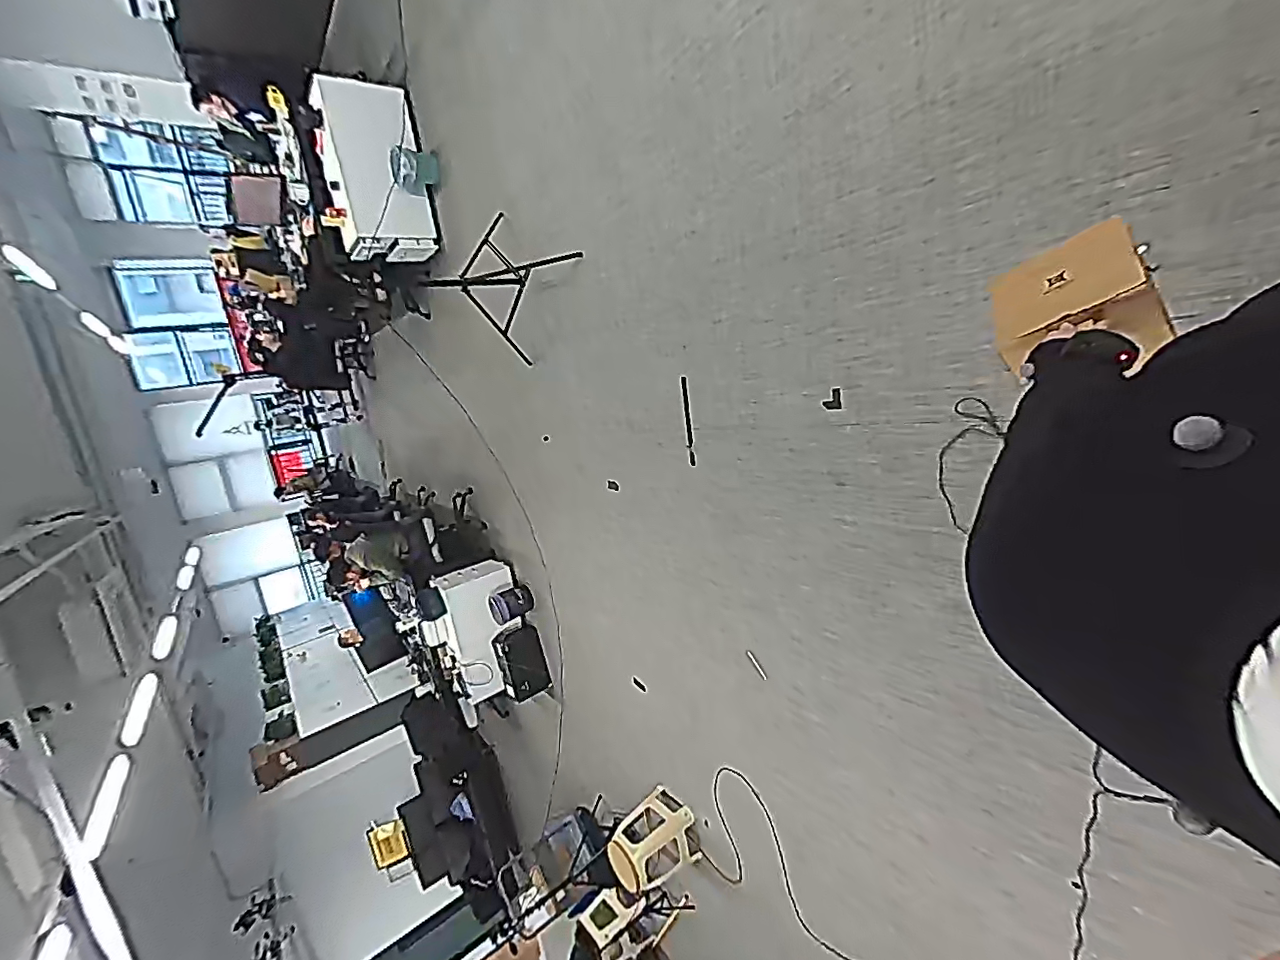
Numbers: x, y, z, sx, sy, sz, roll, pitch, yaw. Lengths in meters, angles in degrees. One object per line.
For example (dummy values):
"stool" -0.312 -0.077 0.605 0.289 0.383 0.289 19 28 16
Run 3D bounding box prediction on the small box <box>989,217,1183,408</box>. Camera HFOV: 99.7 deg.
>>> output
"small box" 0.635 -0.226 0.781 0.176 0.179 0.168 40 141 -23
